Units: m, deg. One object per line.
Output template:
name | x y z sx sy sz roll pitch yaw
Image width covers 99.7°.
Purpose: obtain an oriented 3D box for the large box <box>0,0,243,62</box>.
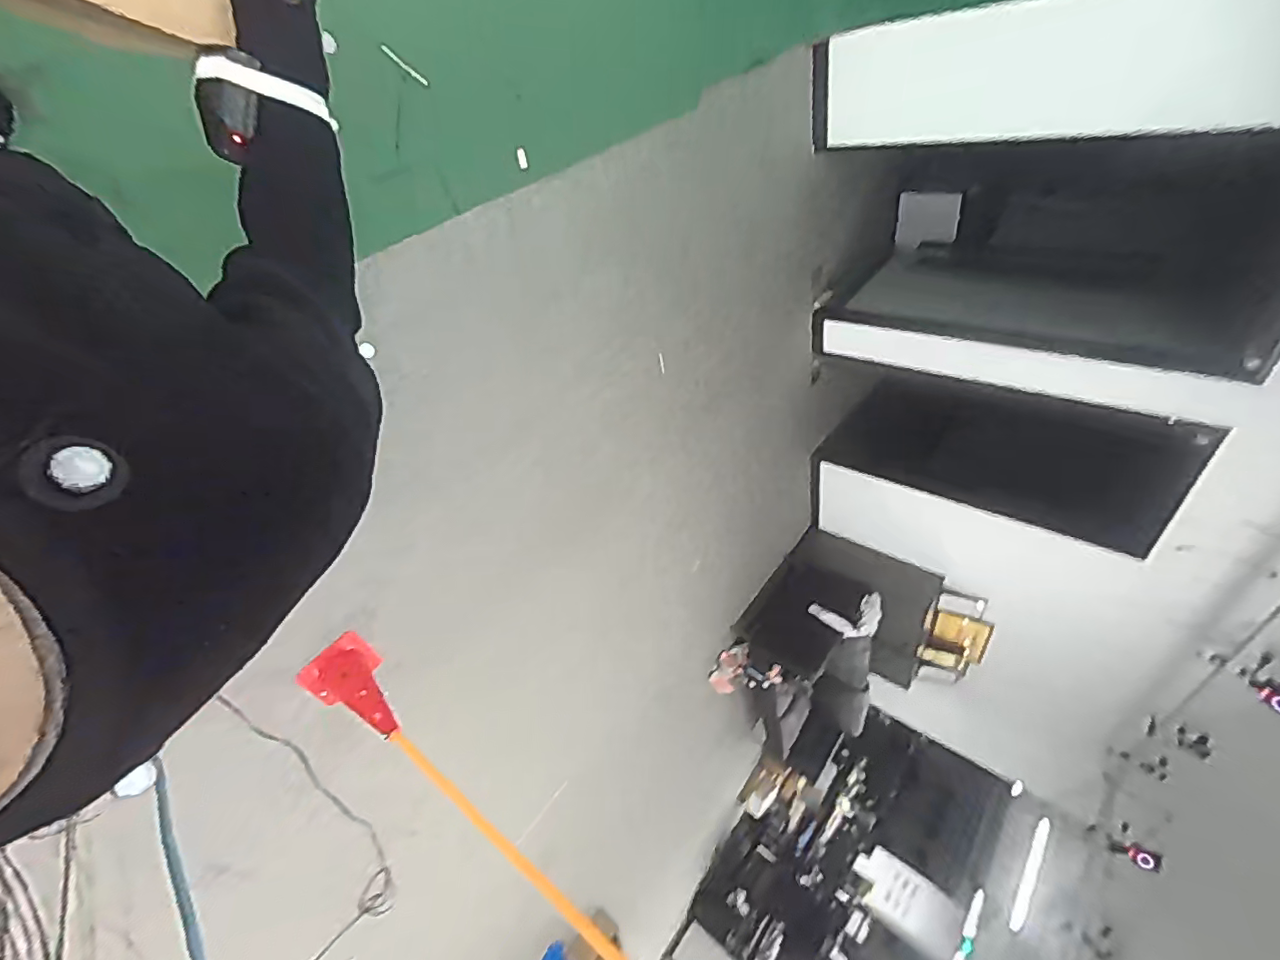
large box | -0.512 -0.505 0.299 0.408 0.320 0.320 -14 126 -54
